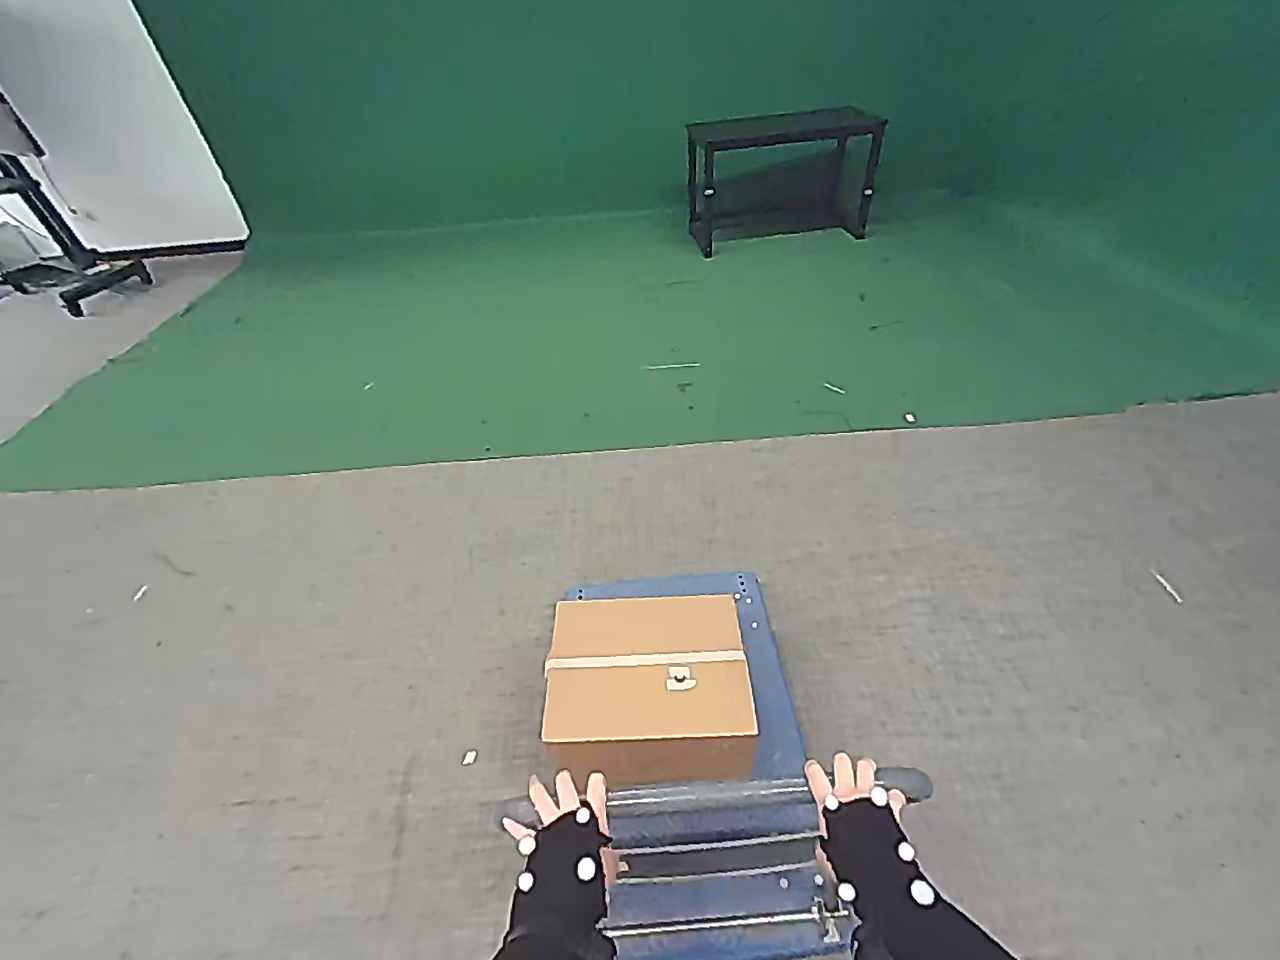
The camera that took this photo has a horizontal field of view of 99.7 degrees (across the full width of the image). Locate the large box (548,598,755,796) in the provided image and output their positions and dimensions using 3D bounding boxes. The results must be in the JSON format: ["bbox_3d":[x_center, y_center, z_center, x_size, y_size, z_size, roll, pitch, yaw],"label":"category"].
[{"bbox_3d":[0.022,0.493,1.231,0.408,0.320,0.320,-2,42,1],"label":"large box"}]
